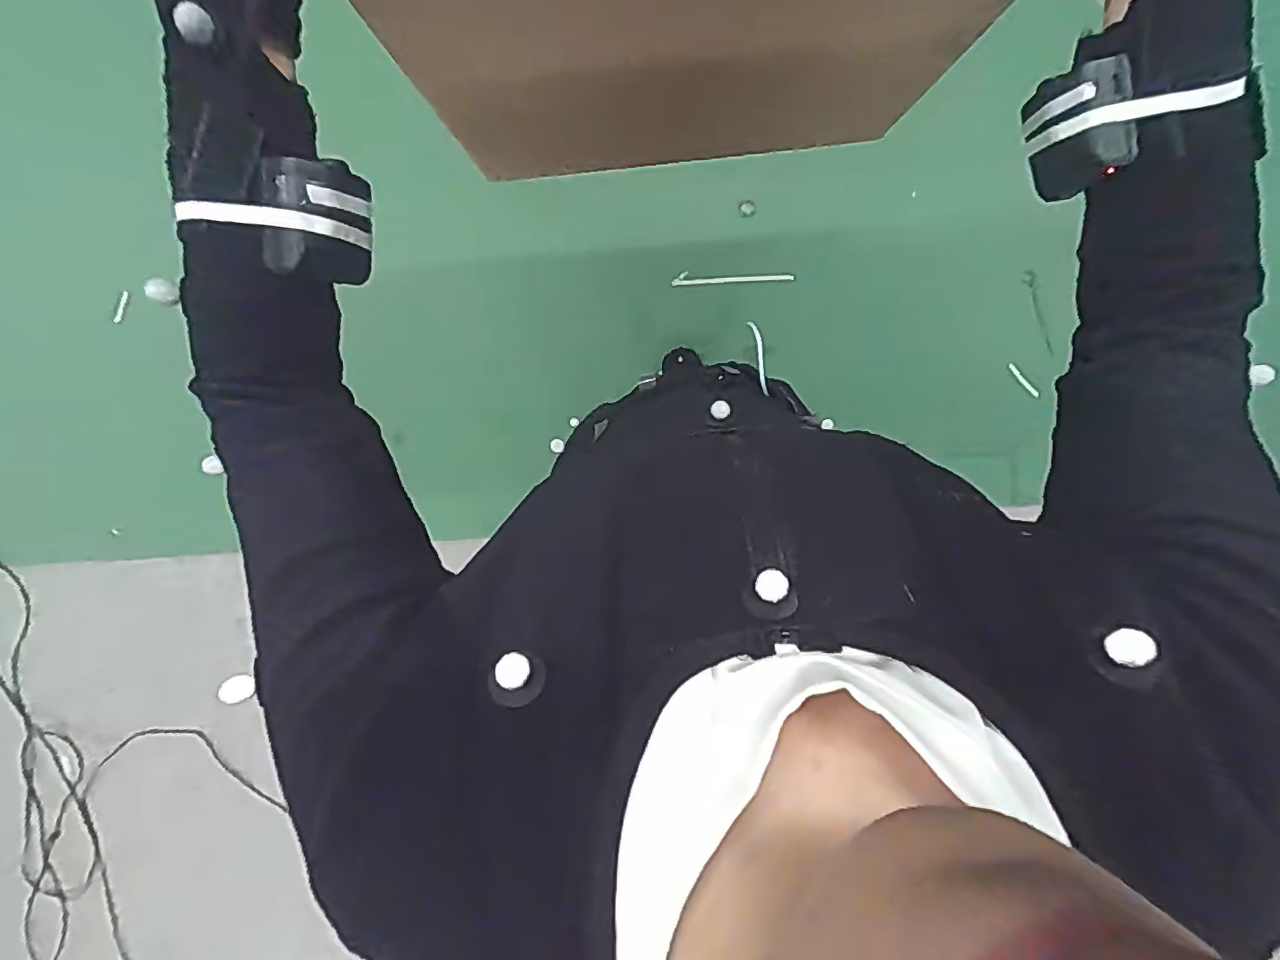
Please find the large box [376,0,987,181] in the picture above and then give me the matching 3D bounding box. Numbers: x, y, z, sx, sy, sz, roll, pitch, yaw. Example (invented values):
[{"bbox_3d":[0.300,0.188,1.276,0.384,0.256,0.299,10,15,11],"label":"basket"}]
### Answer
[{"bbox_3d":[0.025,-0.453,0.381,0.408,0.320,0.320,-7,101,0],"label":"large box"}]
